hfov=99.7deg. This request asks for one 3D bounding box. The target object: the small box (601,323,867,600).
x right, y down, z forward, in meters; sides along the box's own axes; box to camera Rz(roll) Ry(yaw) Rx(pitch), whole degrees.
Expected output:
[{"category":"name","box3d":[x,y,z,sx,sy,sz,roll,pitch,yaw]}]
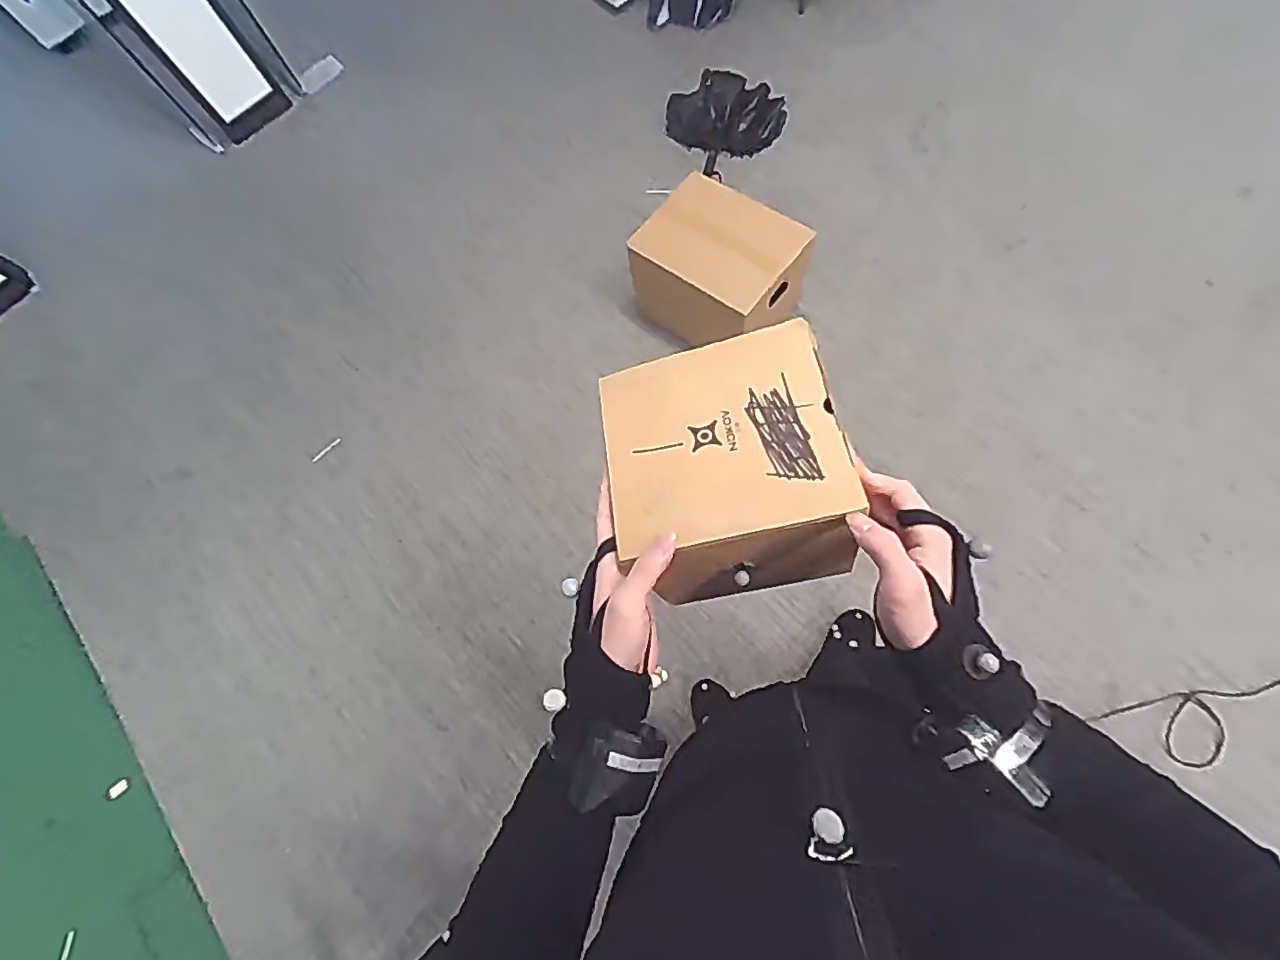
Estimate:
[{"category":"small box","box3d":[0.080,-0.002,0.476,0.179,0.176,0.168,-13,63,12]}]
